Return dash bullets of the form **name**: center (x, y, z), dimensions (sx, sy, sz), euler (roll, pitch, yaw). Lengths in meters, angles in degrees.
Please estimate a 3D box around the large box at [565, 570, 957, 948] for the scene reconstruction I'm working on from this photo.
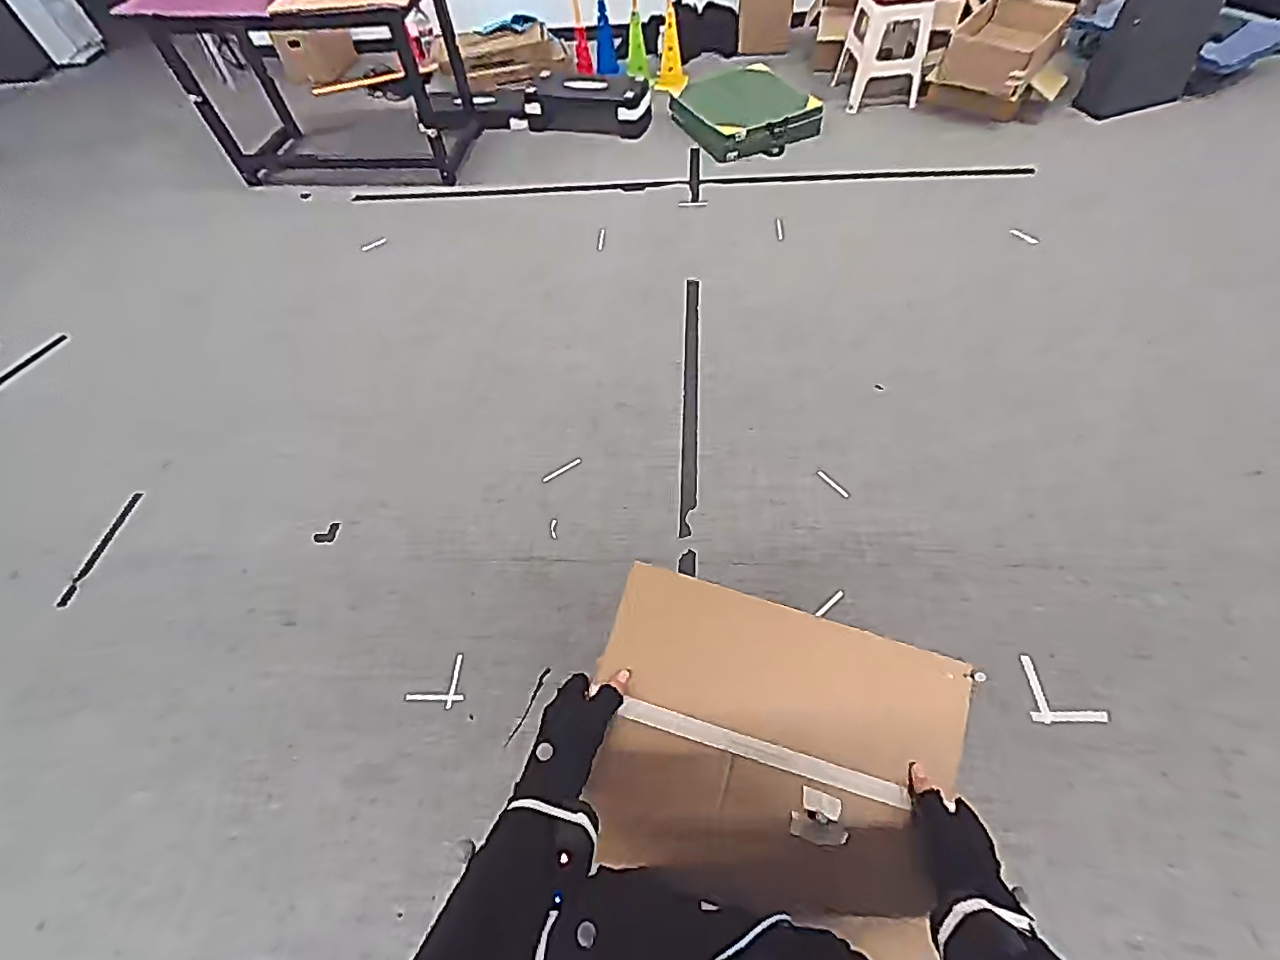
- **large box**: center (0.144, 0.338, 0.757), dimensions (0.408, 0.320, 0.320), euler (16, 76, 4)
